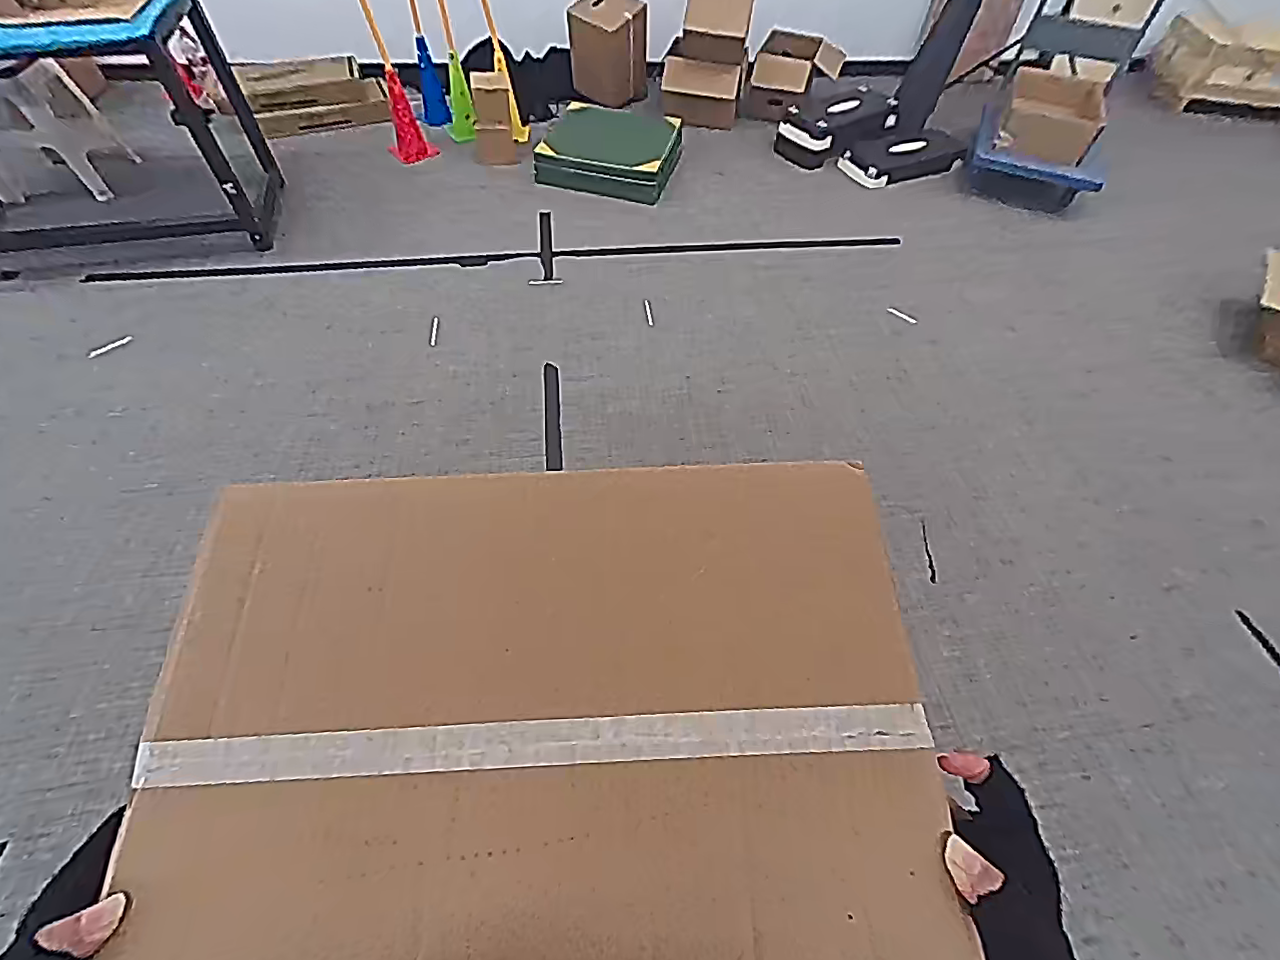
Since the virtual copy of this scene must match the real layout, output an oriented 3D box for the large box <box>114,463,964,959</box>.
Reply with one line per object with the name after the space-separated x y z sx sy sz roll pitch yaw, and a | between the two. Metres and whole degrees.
-0.052 0.200 0.428 0.408 0.320 0.320 -3 66 -1 | large box
